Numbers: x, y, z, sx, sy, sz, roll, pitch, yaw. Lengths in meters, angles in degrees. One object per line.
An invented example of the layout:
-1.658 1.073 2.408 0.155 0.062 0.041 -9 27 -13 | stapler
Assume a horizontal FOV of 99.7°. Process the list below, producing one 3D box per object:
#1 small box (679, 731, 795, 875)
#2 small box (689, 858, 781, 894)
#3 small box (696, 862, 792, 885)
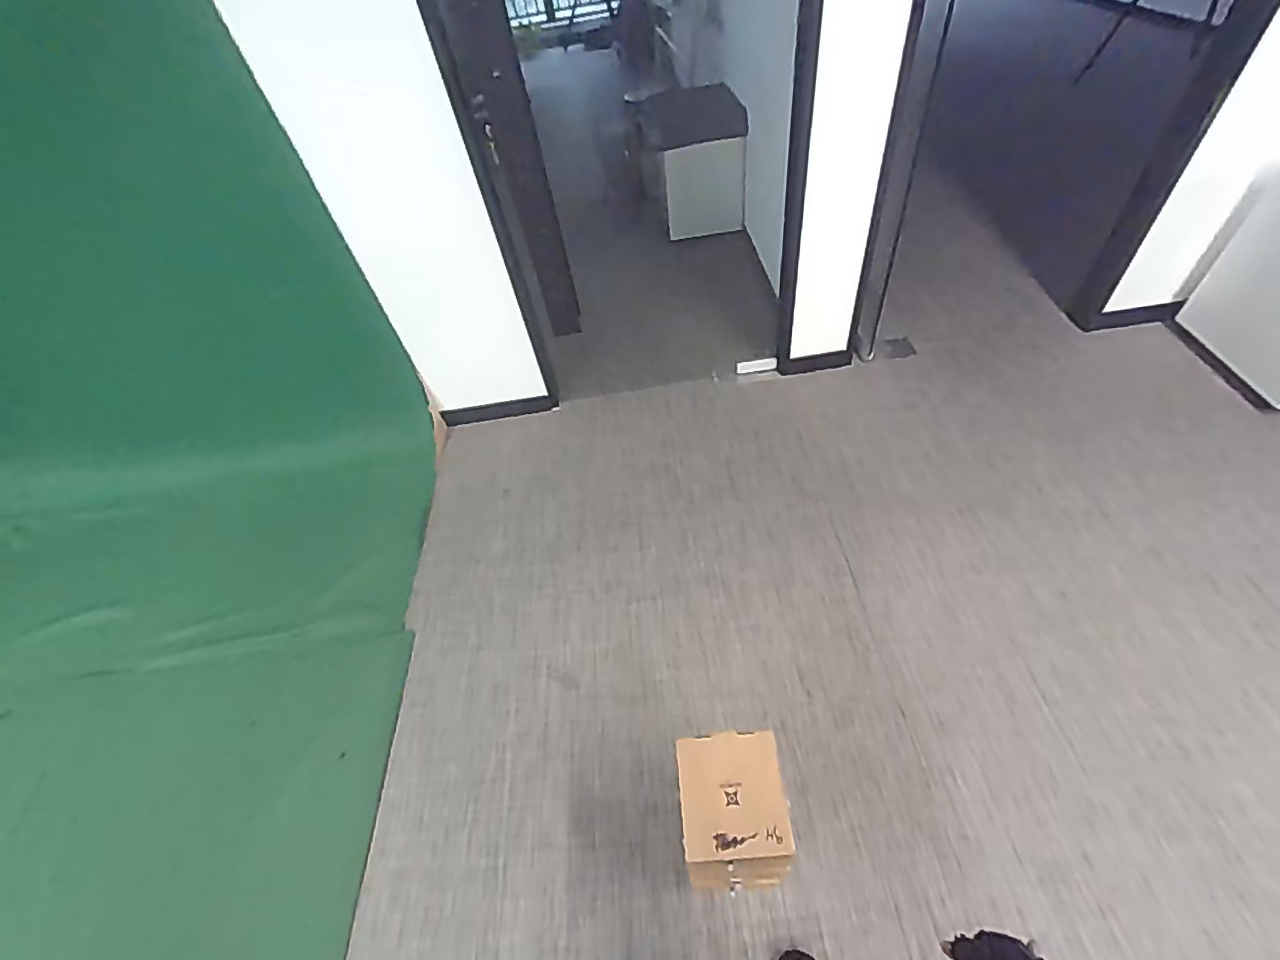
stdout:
0.158 0.548 0.916 0.168 0.176 0.179 -7 47 5 | small box
0.192 0.771 1.151 0.179 0.176 0.168 -7 48 5 | small box
0.186 0.658 1.036 0.168 0.176 0.179 -8 49 5 | small box
